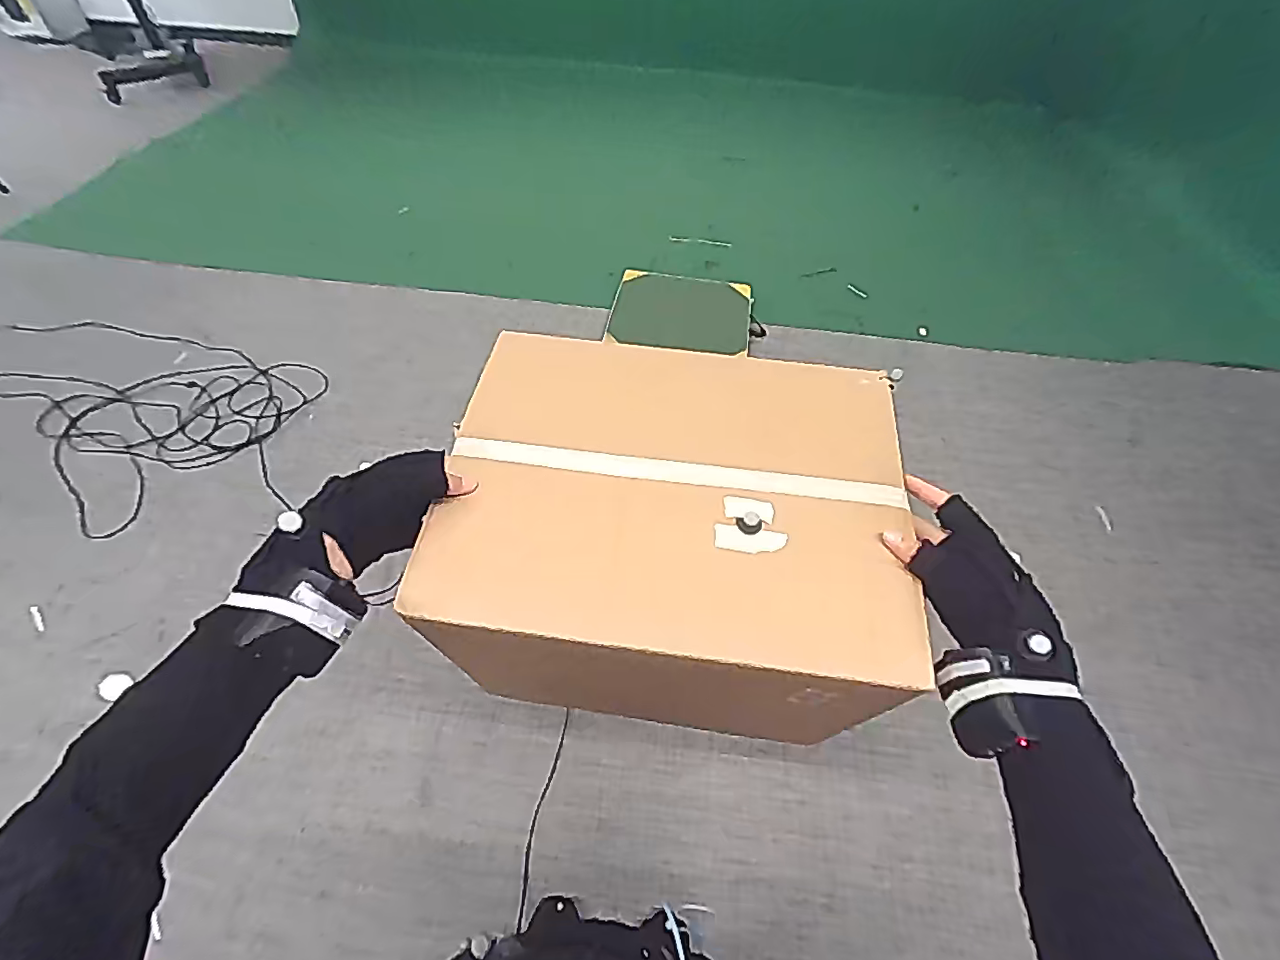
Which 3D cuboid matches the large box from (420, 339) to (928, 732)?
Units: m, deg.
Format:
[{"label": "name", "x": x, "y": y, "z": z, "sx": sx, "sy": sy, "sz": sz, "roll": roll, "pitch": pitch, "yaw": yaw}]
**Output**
[{"label": "large box", "x": 0.034, "y": 0.076, "z": 0.619, "sx": 0.408, "sy": 0.320, "sz": 0.320, "roll": 7, "pitch": 58, "yaw": 3}]
